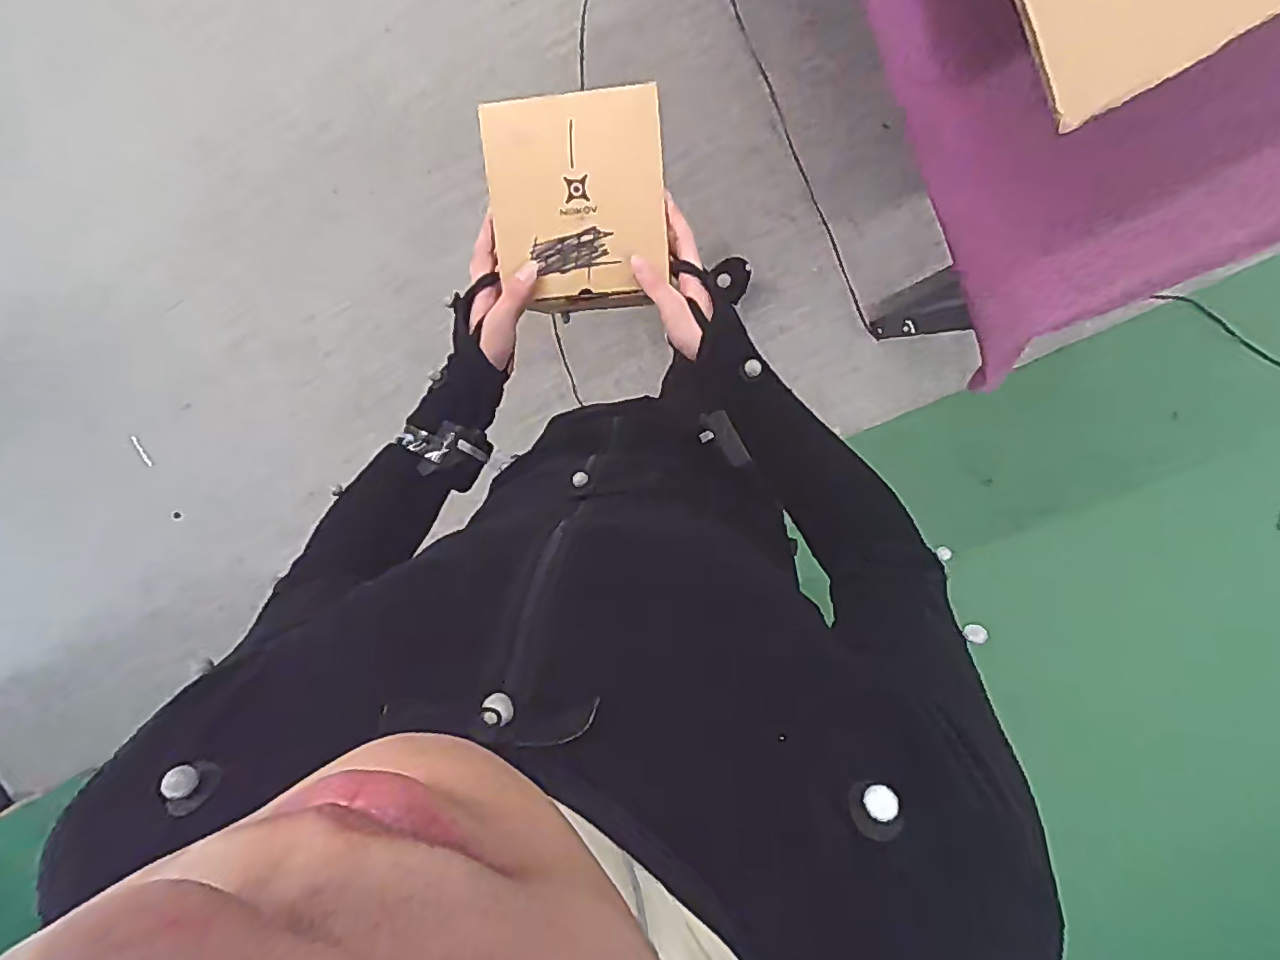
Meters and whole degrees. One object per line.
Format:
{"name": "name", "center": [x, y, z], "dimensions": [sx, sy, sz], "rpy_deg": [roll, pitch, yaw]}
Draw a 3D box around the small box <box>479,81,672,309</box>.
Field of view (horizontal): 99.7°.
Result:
{"name": "small box", "center": [-0.053, -0.278, 0.574], "dimensions": [0.168, 0.176, 0.179], "rpy_deg": [-3, 103, 5]}
